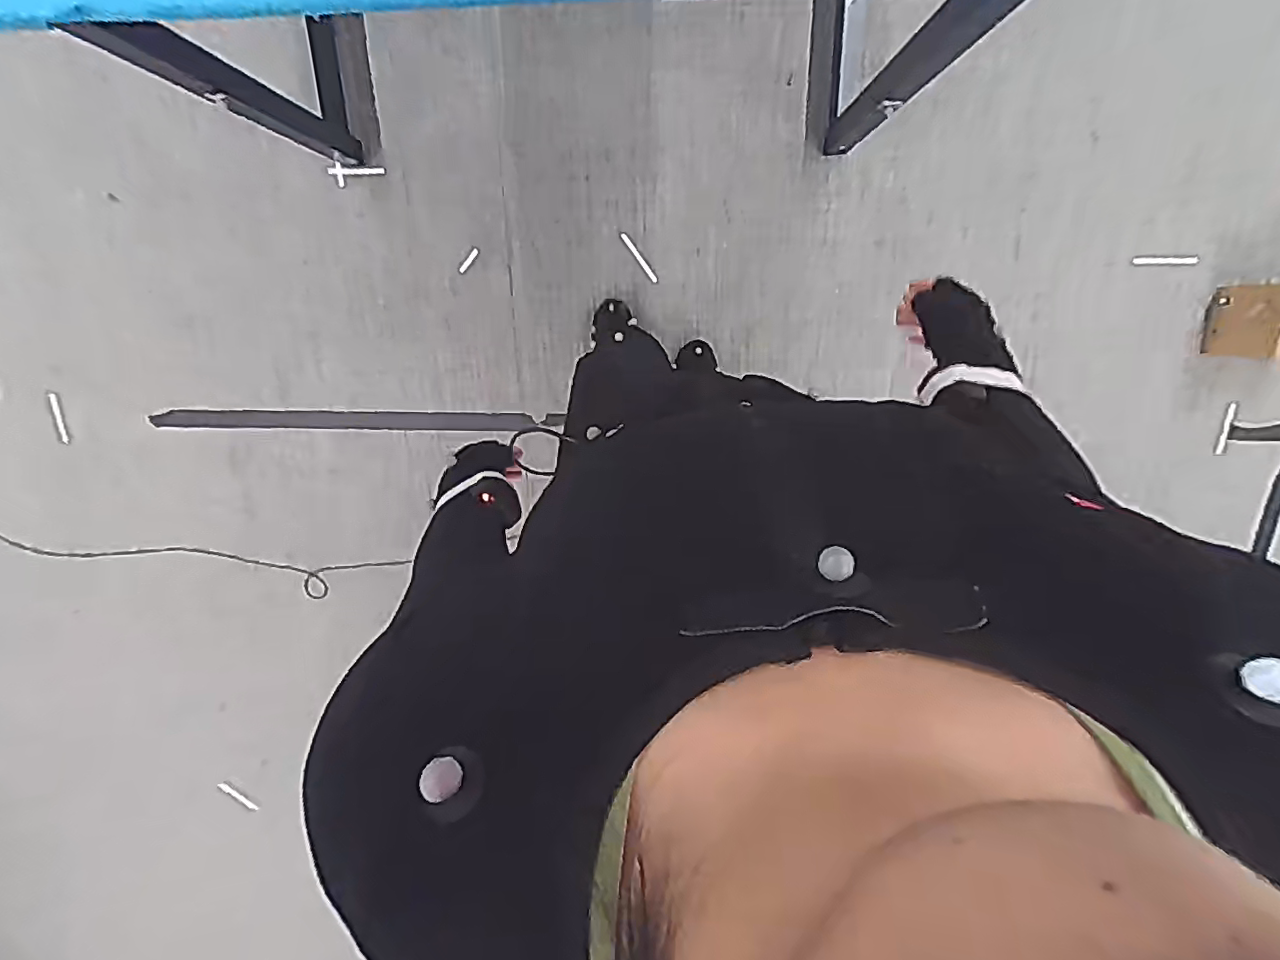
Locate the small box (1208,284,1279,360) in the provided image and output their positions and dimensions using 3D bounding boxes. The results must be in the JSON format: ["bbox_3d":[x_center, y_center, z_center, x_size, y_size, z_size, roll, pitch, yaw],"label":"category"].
[{"bbox_3d":[1.498,-0.368,1.254,0.179,0.176,0.168,-1,107,1],"label":"small box"}]
